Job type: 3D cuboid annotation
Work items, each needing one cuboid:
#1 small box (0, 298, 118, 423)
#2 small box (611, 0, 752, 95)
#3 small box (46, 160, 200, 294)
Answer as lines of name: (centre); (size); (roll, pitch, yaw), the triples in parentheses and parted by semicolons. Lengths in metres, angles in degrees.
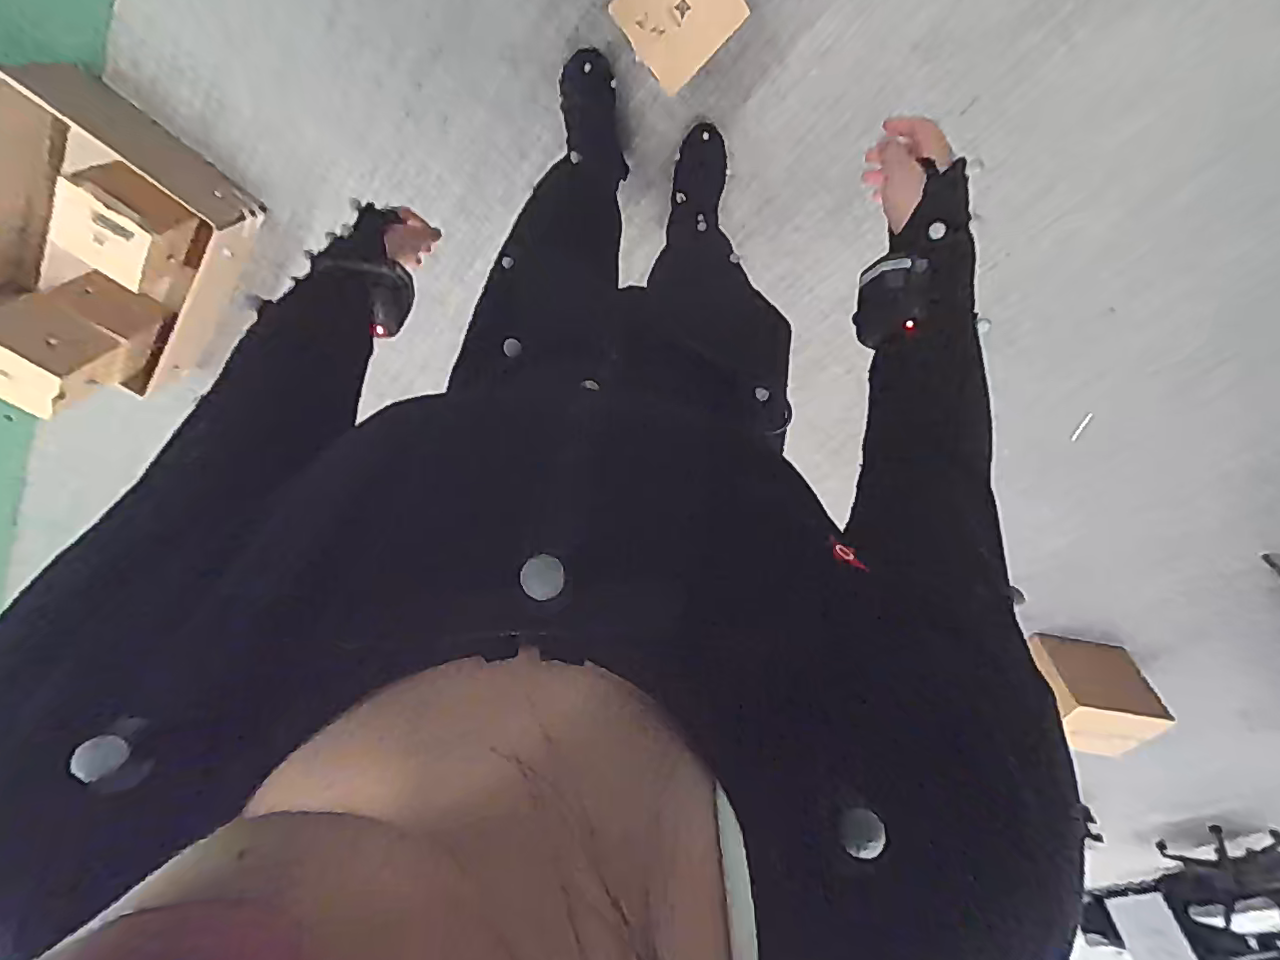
small box: (-1.333, -0.269, 1.203); (0.168, 0.176, 0.179); (-35, 122, 29)
small box: (0.069, -0.820, 0.940); (0.179, 0.176, 0.168); (-33, 121, 28)
small box: (-1.103, -0.548, 1.166); (0.168, 0.176, 0.179); (37, 124, -26)
